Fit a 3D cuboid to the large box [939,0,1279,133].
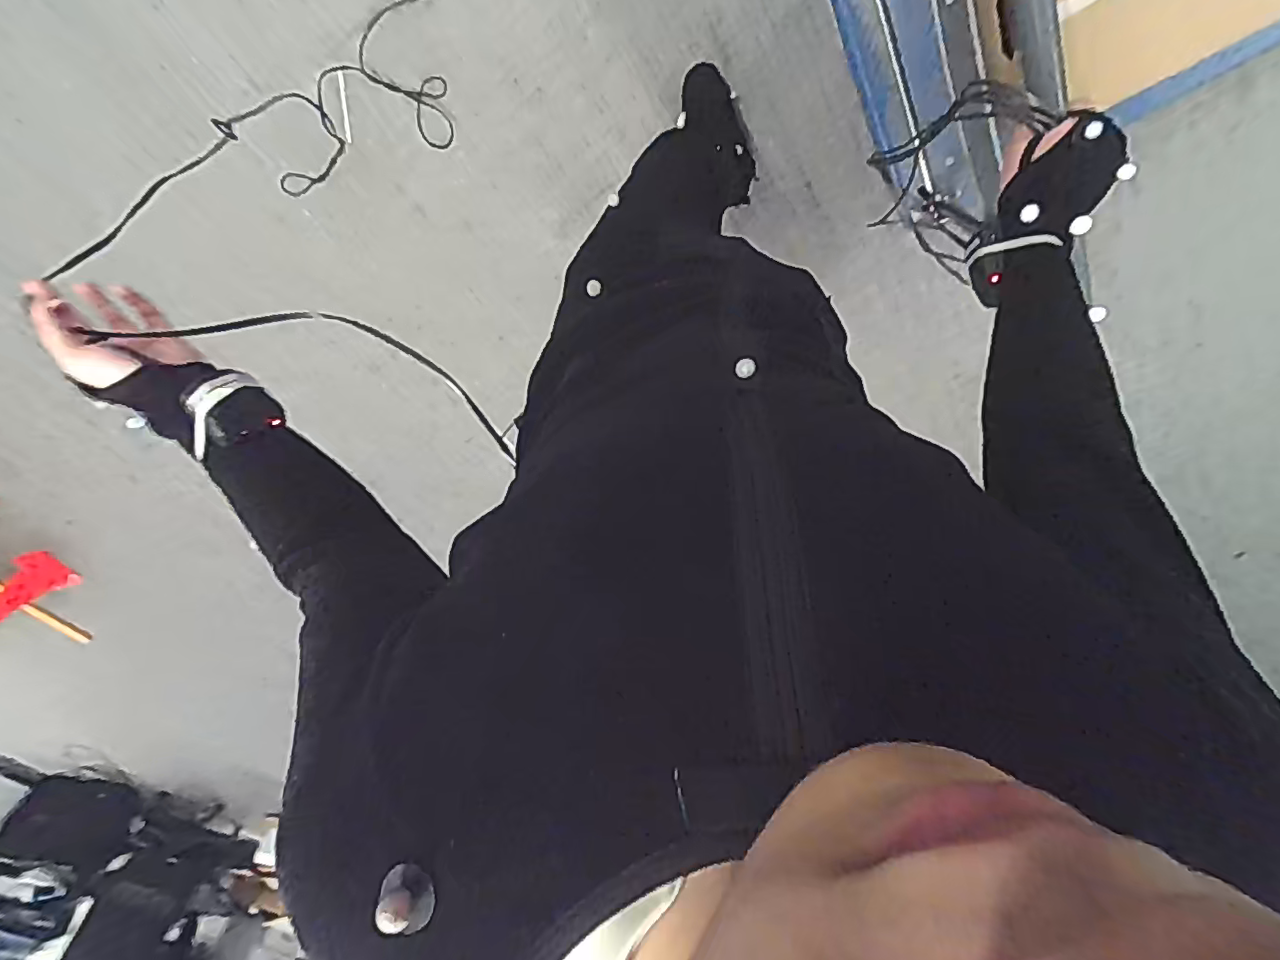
[{"bbox_3d":[0.716,-0.786,0.792,0.408,0.320,0.320,-23,122,19],"label":"large box"}]
